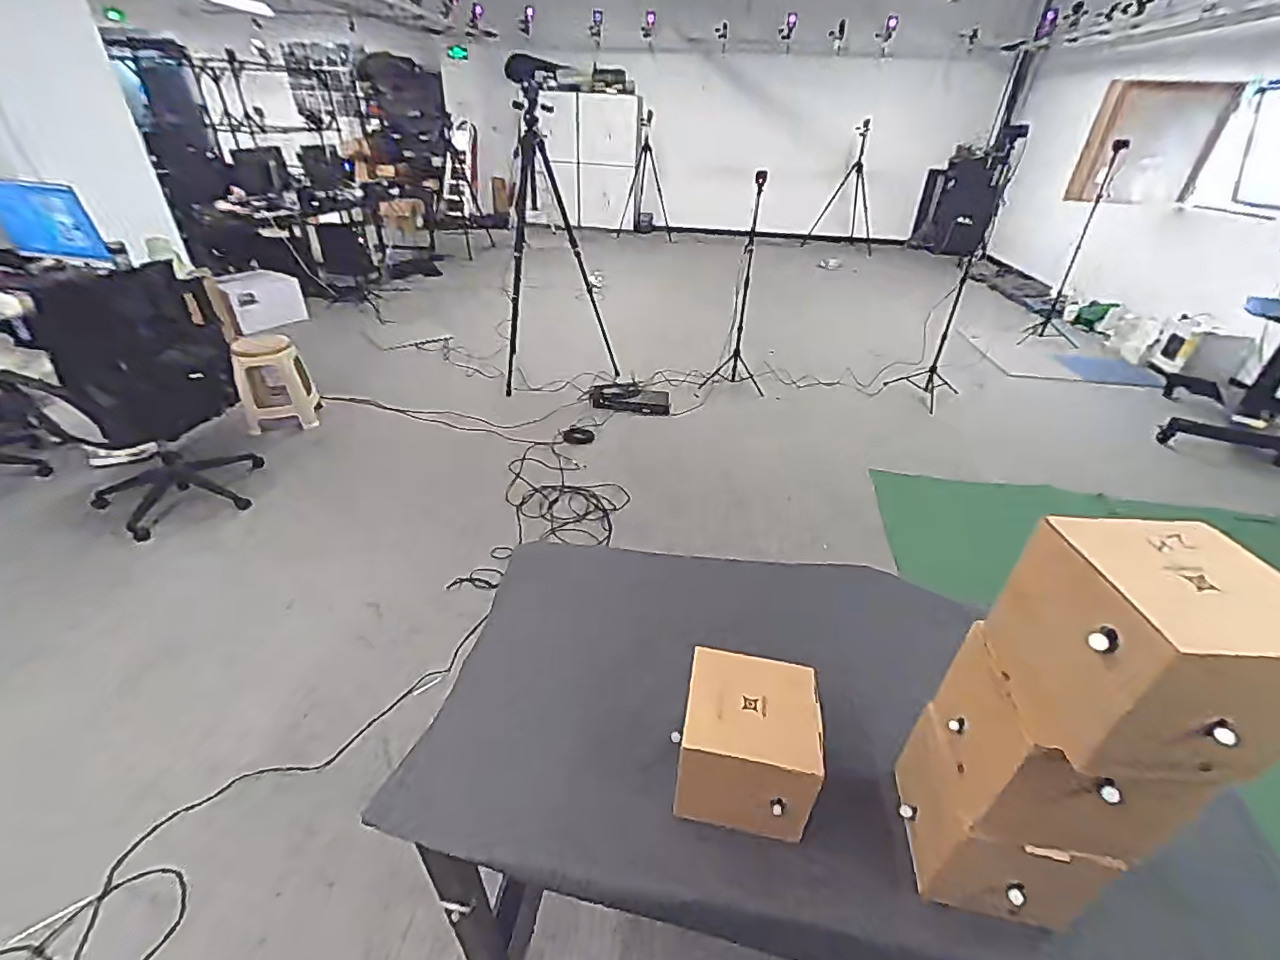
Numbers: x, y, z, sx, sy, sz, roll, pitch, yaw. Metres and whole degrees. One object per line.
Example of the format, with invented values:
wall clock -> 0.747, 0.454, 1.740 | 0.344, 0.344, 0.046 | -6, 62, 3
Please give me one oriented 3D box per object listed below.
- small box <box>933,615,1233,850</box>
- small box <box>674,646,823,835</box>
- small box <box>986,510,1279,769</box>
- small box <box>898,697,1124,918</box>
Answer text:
small box -> 0.464, 0.281, 0.607 | 0.179, 0.176, 0.168 | 5, 32, 8
small box -> 0.147, 0.367, 0.764 | 0.179, 0.176, 0.168 | 6, 32, 9
small box -> 0.474, 0.146, 0.511 | 0.168, 0.176, 0.179 | 2, 32, 0
small box -> 0.451, 0.417, 0.695 | 0.168, 0.176, 0.179 | 7, 33, 9
